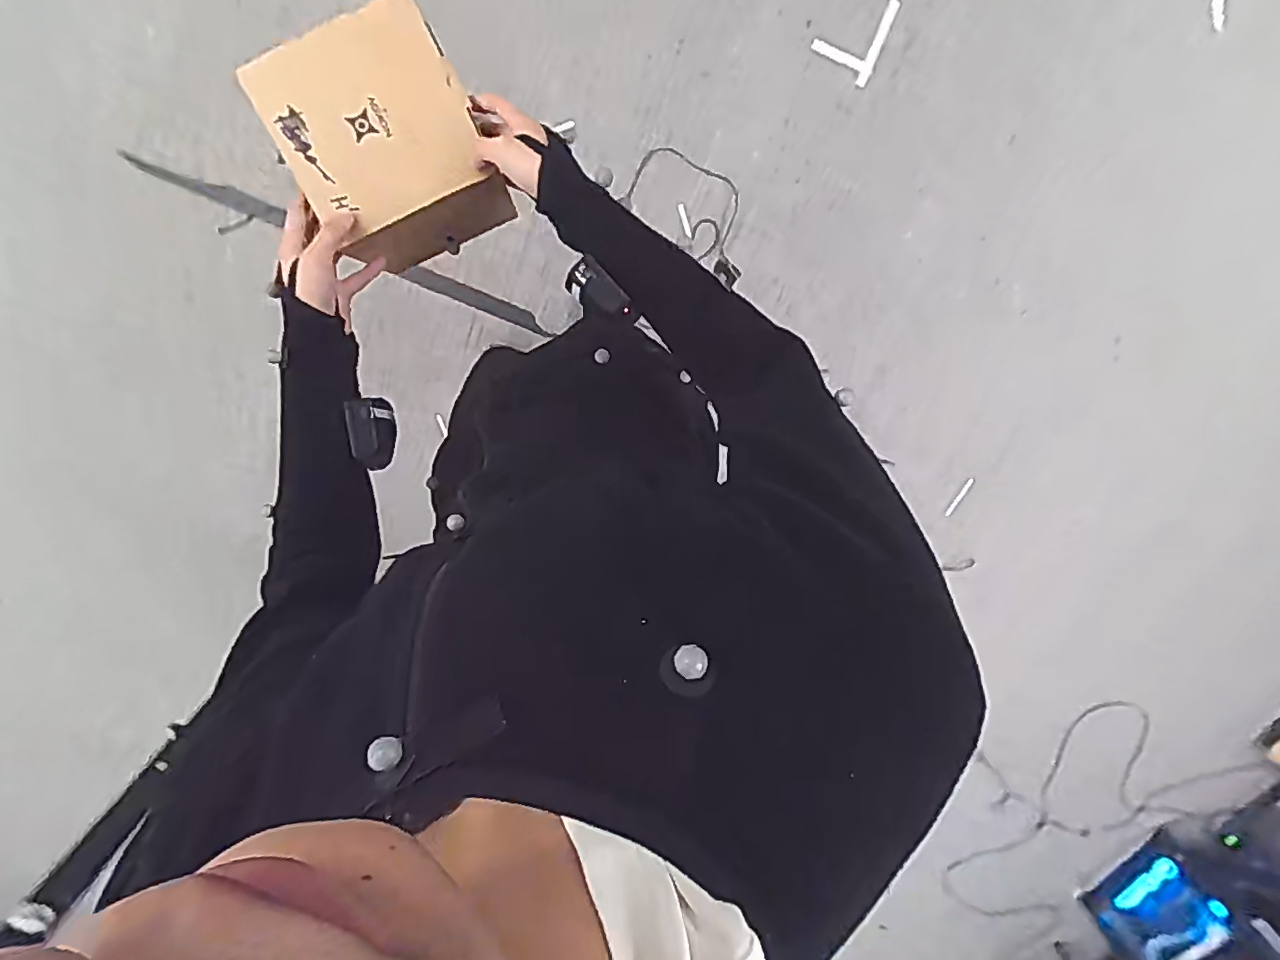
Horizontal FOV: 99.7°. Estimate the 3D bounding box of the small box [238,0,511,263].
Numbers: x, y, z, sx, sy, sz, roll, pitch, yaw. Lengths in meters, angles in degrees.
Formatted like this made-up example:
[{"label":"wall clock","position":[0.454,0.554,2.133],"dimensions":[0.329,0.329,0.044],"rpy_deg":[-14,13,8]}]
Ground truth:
[{"label":"small box","position":[-0.247,-0.348,0.561],"dimensions":[0.179,0.176,0.168],"rpy_deg":[-24,104,-1]}]
